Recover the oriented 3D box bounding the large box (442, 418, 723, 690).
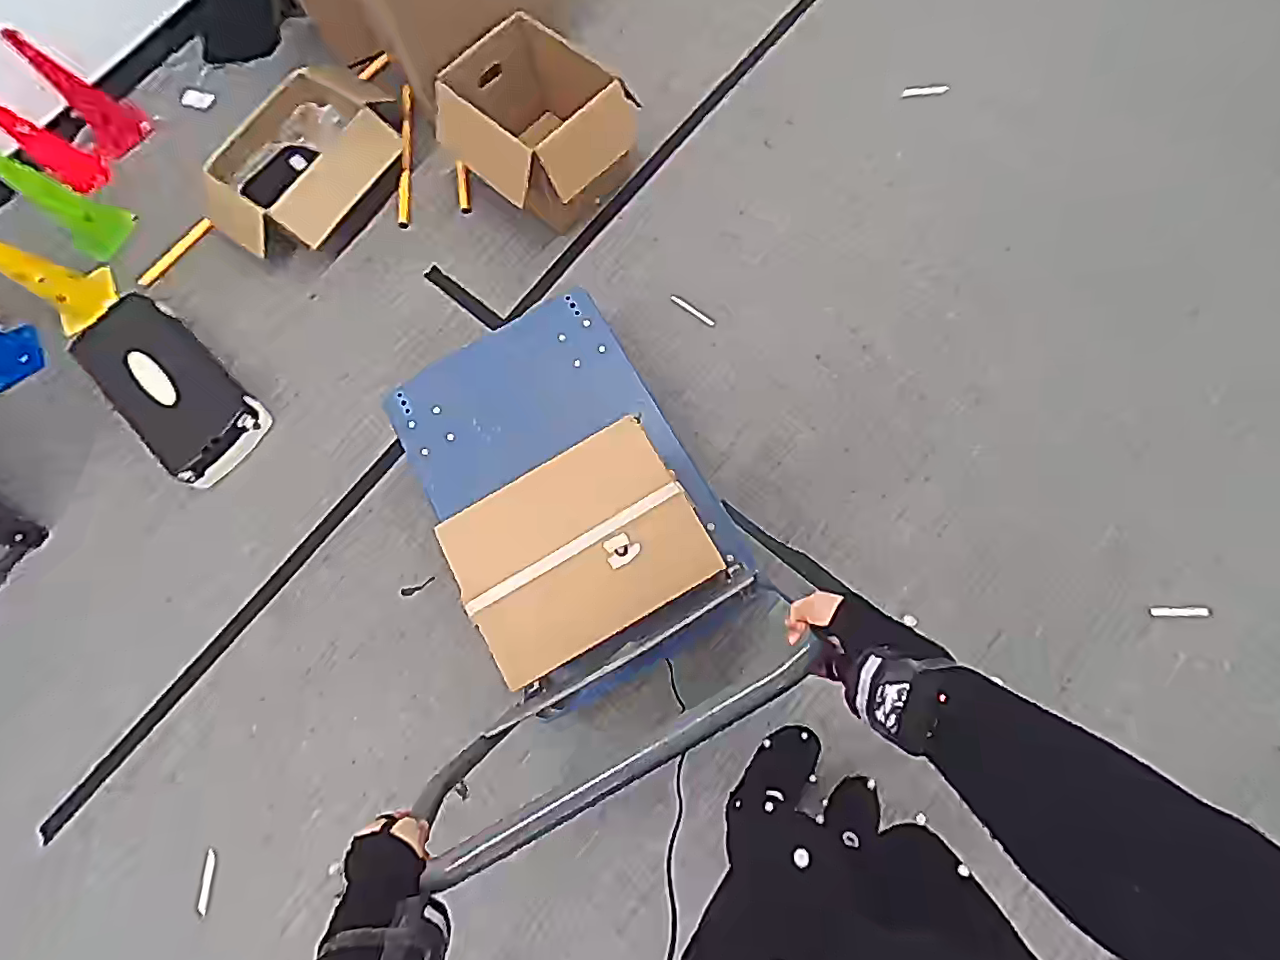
[{"bbox_3d":[-0.092,0.149,1.060,0.408,0.320,0.320,-31,77,-2],"label":"large box"}]
